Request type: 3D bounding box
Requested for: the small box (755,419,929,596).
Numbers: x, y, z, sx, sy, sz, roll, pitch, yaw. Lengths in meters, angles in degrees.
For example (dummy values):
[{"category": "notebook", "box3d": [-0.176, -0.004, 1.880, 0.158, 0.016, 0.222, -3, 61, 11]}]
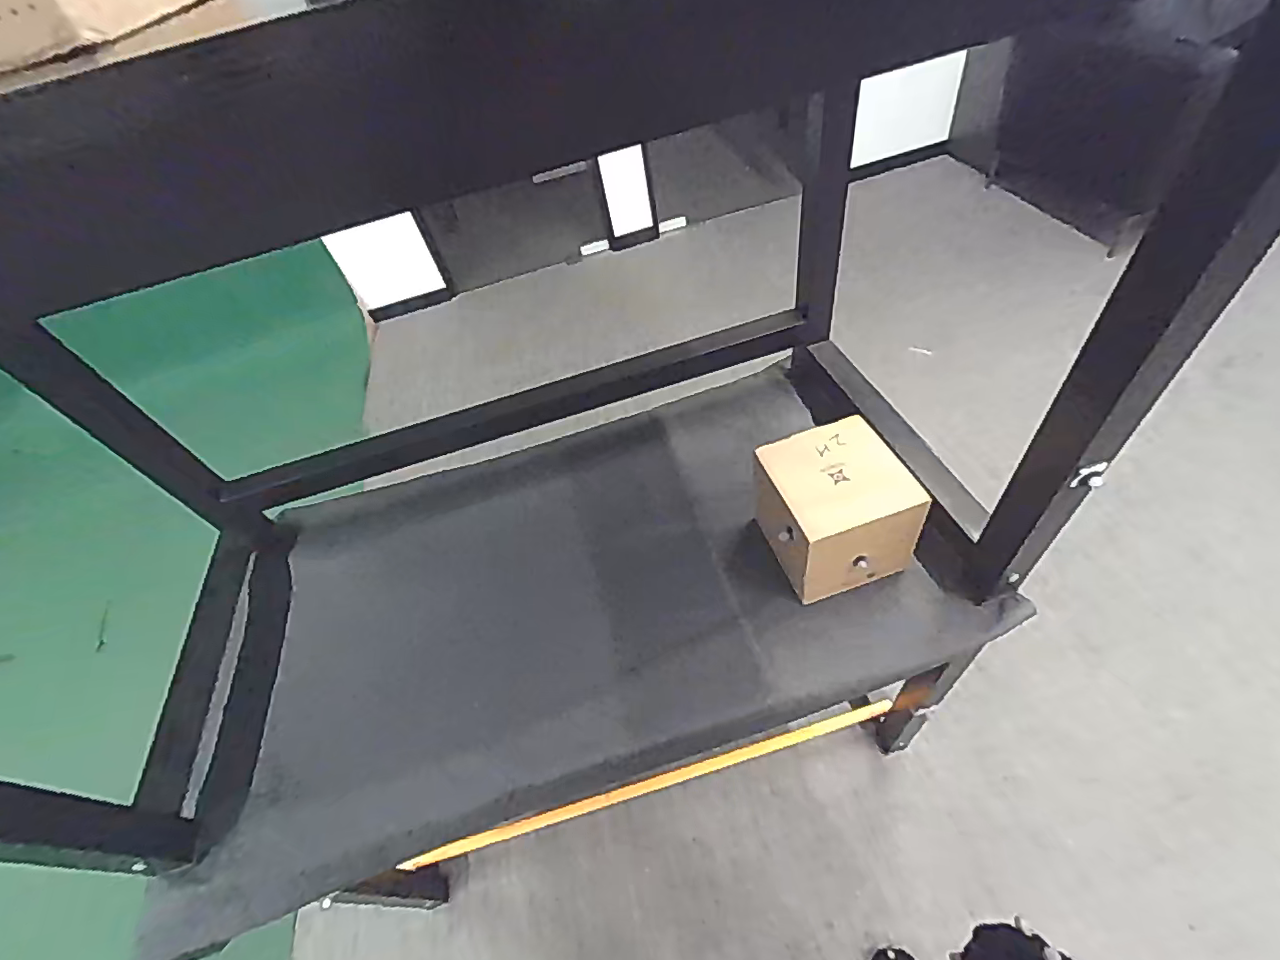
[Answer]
[{"category": "small box", "box3d": [0.279, 0.048, 0.784, 0.168, 0.176, 0.179, -18, 48, -3]}]
